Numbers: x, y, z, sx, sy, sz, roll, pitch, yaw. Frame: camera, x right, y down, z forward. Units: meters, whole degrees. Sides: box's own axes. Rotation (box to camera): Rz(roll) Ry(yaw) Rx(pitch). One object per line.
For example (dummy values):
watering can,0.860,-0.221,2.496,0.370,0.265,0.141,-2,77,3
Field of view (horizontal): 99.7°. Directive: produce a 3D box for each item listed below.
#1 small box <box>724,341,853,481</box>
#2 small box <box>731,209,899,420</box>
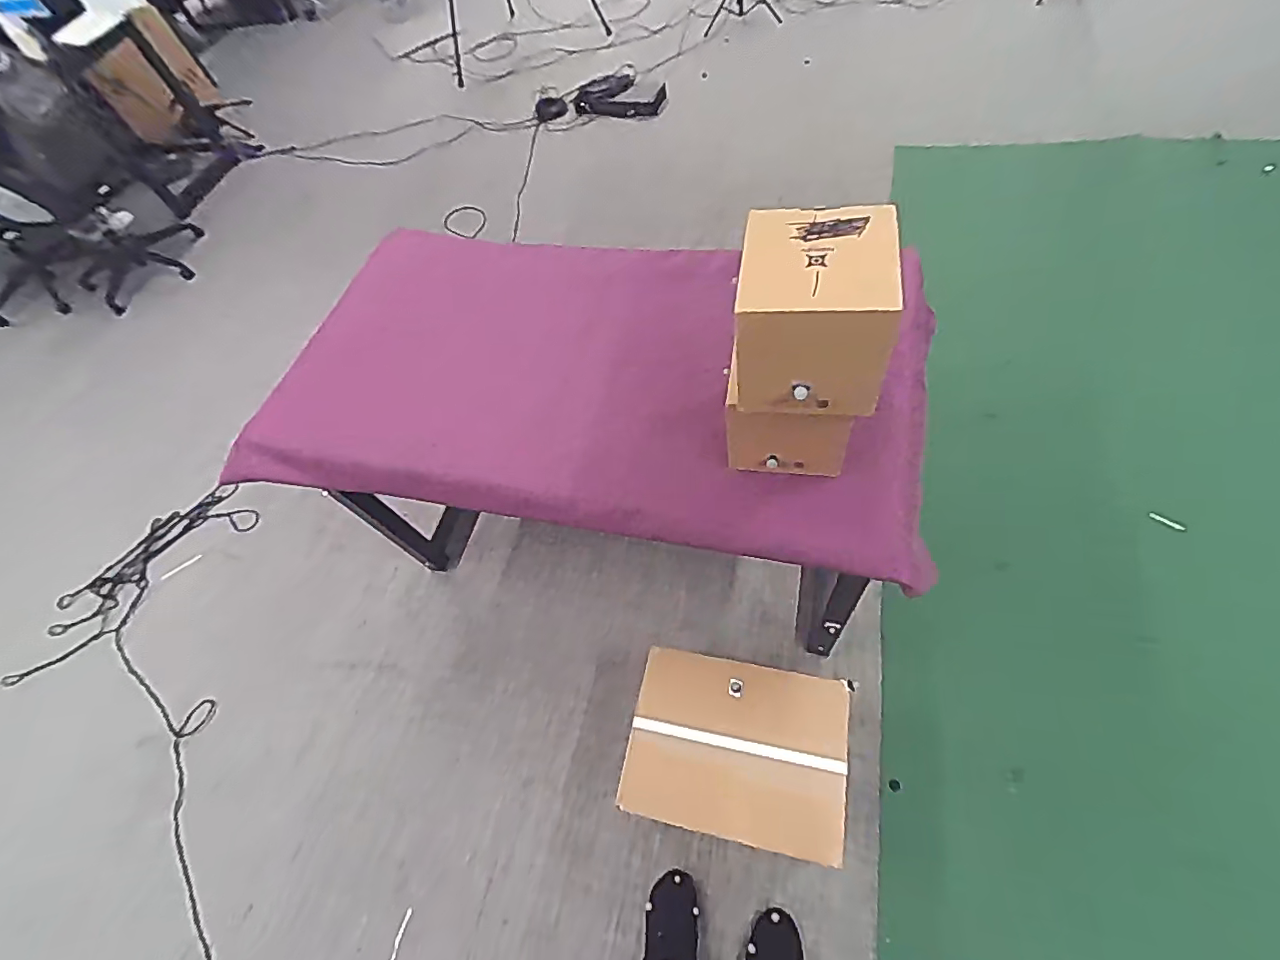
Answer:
small box,0.217,-0.120,0.797,0.168,0.176,0.179,4,59,15
small box,0.203,-0.195,0.650,0.168,0.176,0.179,4,59,15
